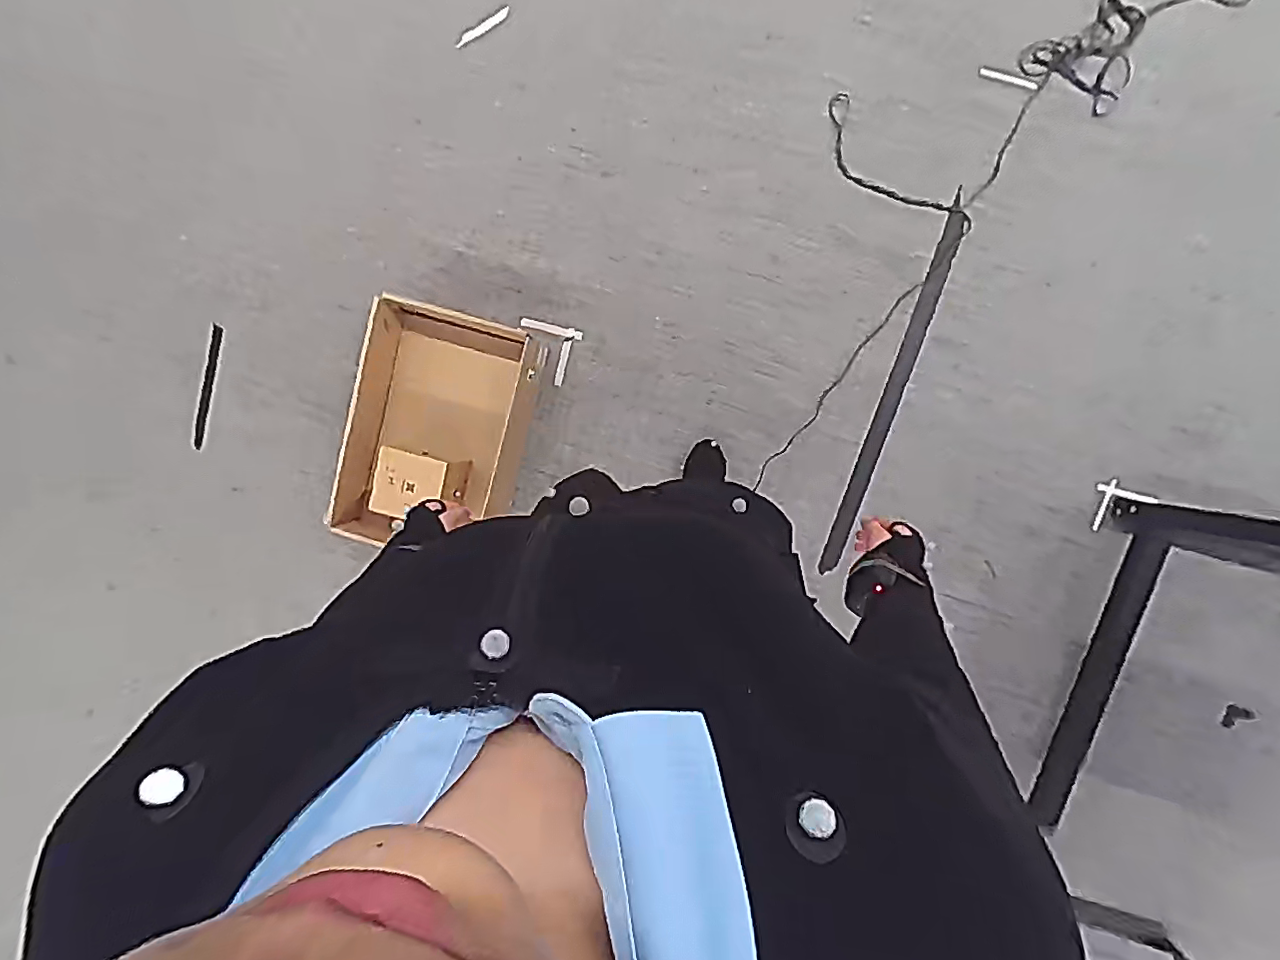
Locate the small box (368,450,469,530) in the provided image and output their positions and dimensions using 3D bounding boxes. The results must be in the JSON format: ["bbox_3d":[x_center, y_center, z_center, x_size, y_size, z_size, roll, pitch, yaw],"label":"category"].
[{"bbox_3d":[-0.565,0.018,1.402,0.179,0.176,0.168,14,95,3],"label":"small box"}]
